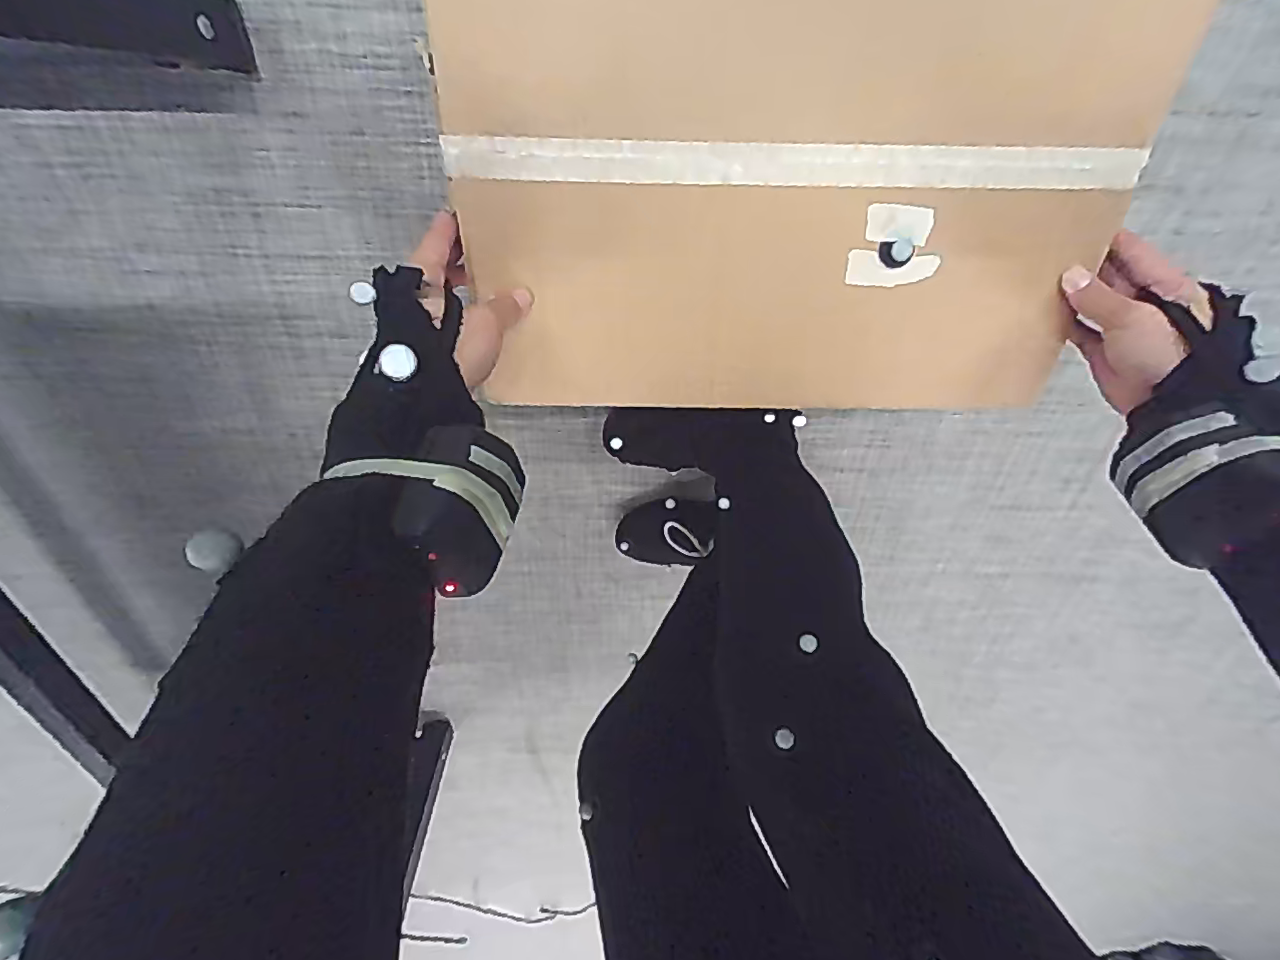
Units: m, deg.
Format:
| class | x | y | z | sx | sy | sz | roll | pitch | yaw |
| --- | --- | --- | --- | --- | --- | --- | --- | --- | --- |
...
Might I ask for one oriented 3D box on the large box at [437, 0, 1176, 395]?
| class | x | y | z | sx | sy | sz | roll | pitch | yaw |
| --- | --- | --- | --- | --- | --- | --- | --- | --- | --- |
| large box | 0.085 | -0.278 | 0.452 | 0.408 | 0.320 | 0.320 | -1 | 124 | -2 |
